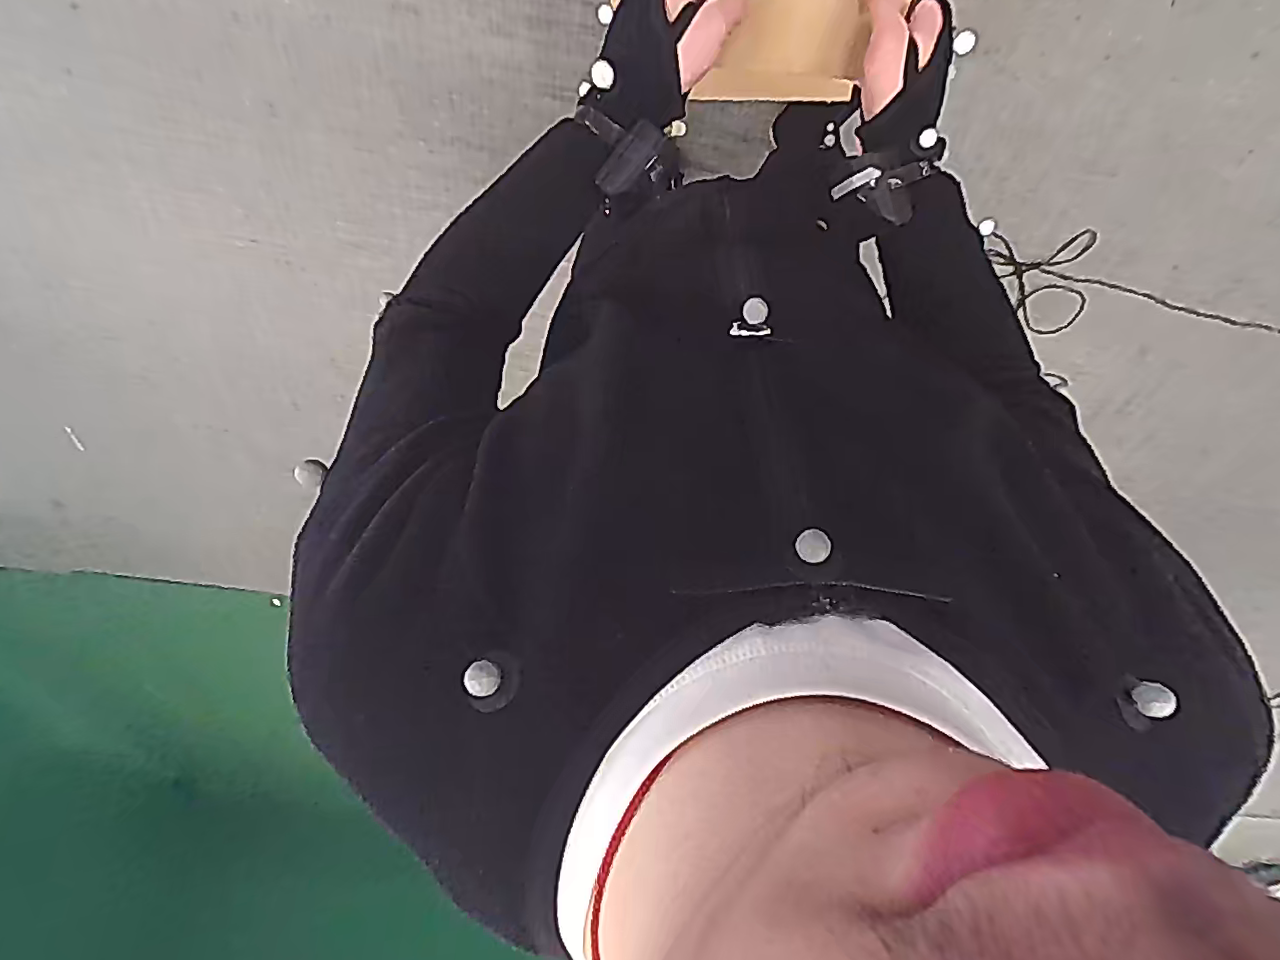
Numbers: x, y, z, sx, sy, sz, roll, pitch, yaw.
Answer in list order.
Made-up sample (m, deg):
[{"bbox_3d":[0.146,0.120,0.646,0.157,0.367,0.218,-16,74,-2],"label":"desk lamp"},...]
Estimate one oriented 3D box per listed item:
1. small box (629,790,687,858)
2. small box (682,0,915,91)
[{"bbox_3d":[0.066,1.238,1.950,0.179,0.176,0.168,11,134,-6],"label":"small box"},{"bbox_3d":[0.133,-0.453,0.449,0.179,0.176,0.168,6,140,1],"label":"small box"}]
